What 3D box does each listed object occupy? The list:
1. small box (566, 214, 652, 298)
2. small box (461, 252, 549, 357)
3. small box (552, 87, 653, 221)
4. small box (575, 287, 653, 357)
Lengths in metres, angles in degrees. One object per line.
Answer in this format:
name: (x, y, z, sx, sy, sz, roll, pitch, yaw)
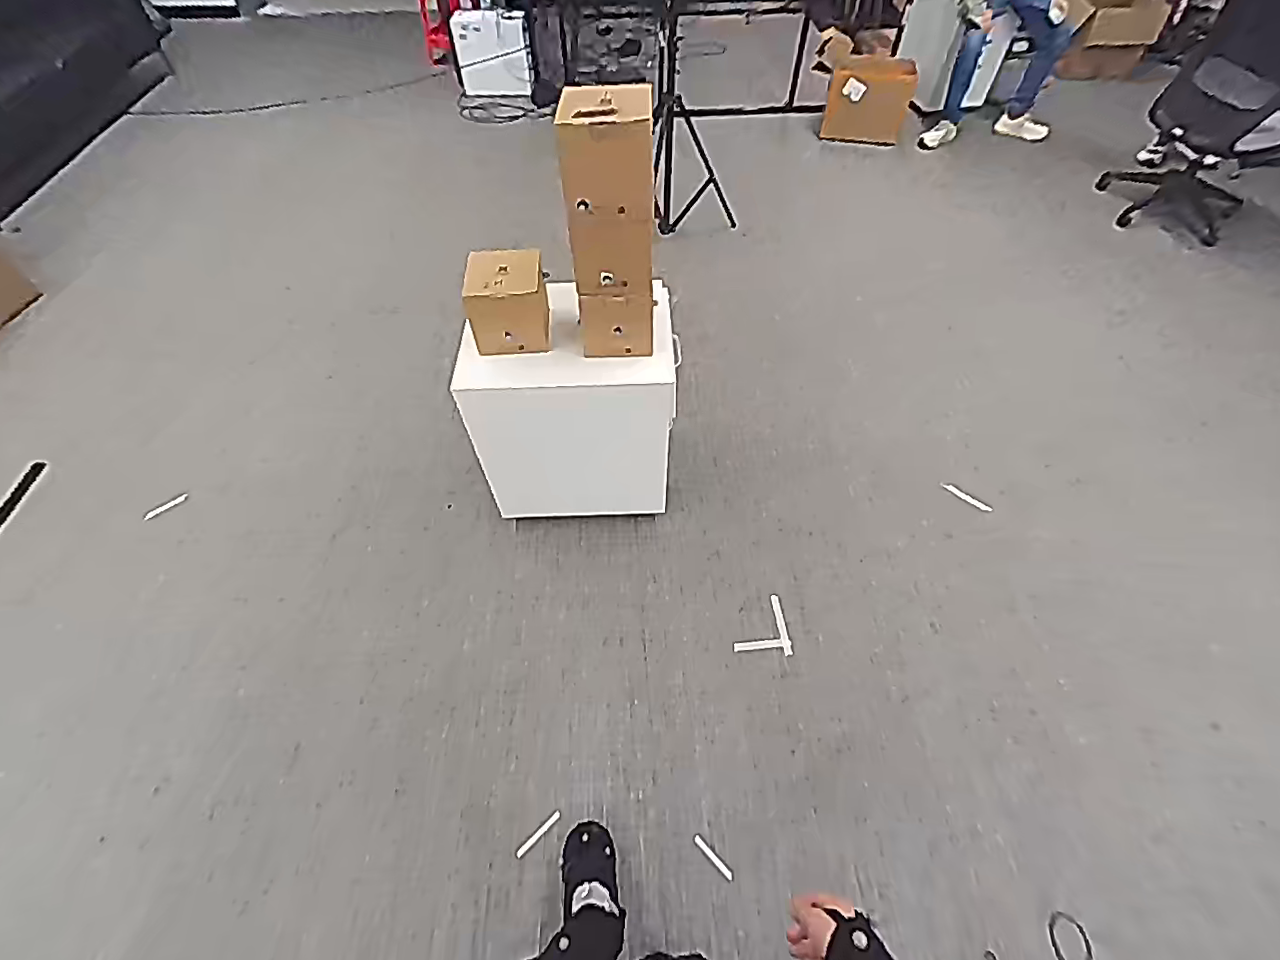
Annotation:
small box: (-0.059, -0.509, 1.146, 0.168, 0.176, 0.179, -2, 54, 1)
small box: (-0.311, -0.414, 1.281, 0.168, 0.176, 0.179, -4, 54, -2)
small box: (-0.061, -0.604, 1.012, 0.168, 0.176, 0.179, -1, 52, 2)
small box: (-0.056, -0.405, 1.273, 0.168, 0.176, 0.179, -2, 55, 1)
